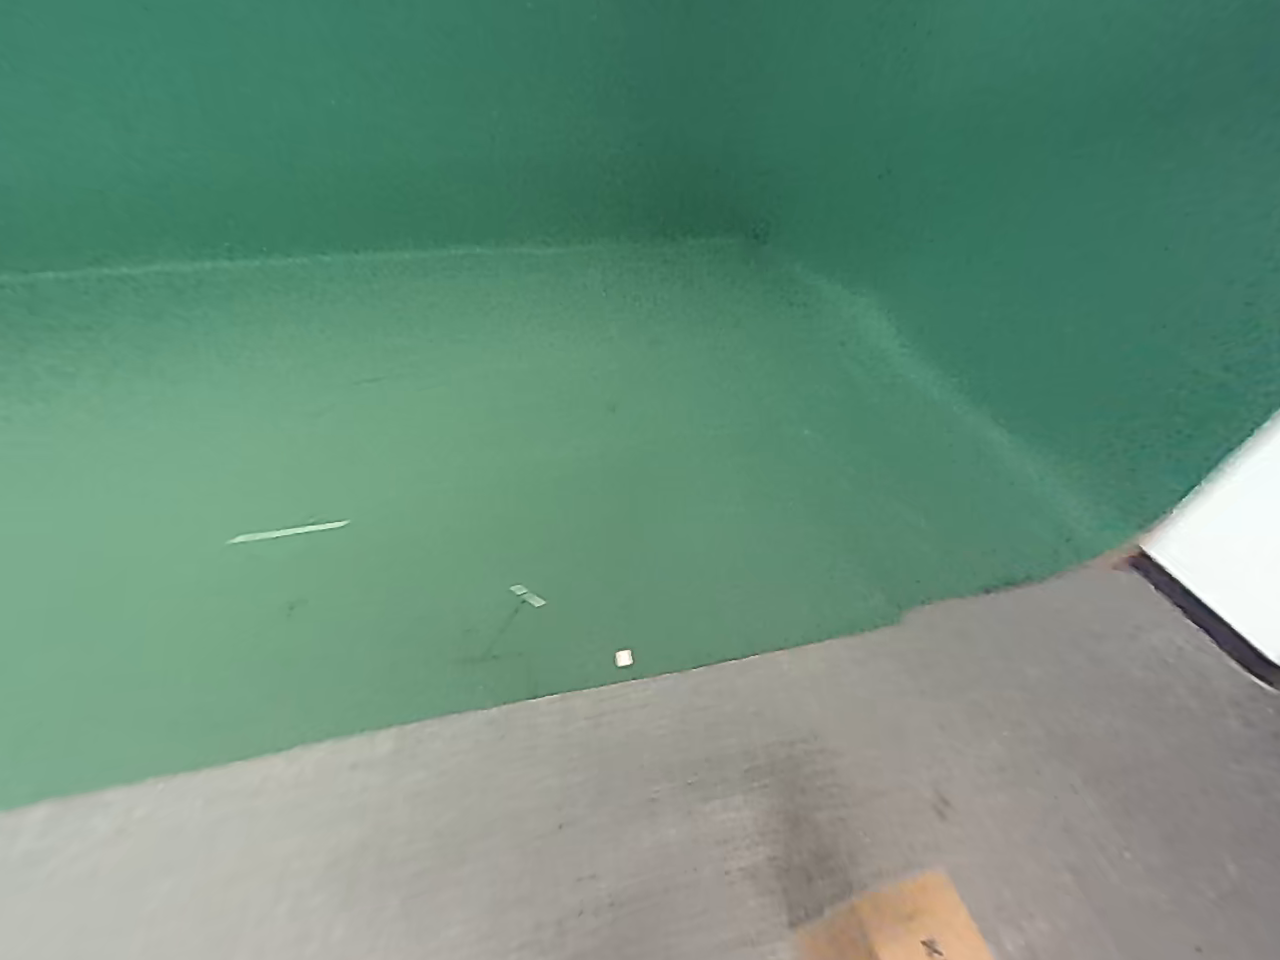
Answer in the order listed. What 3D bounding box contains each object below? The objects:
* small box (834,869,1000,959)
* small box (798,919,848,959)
[{"bbox_3d":[0.427,0.737,0.831,0.168,0.176,0.179,-8,44,-11],"label":"small box"},{"bbox_3d":[0.434,0.970,1.061,0.168,0.176,0.179,-8,45,-10],"label":"small box"}]
